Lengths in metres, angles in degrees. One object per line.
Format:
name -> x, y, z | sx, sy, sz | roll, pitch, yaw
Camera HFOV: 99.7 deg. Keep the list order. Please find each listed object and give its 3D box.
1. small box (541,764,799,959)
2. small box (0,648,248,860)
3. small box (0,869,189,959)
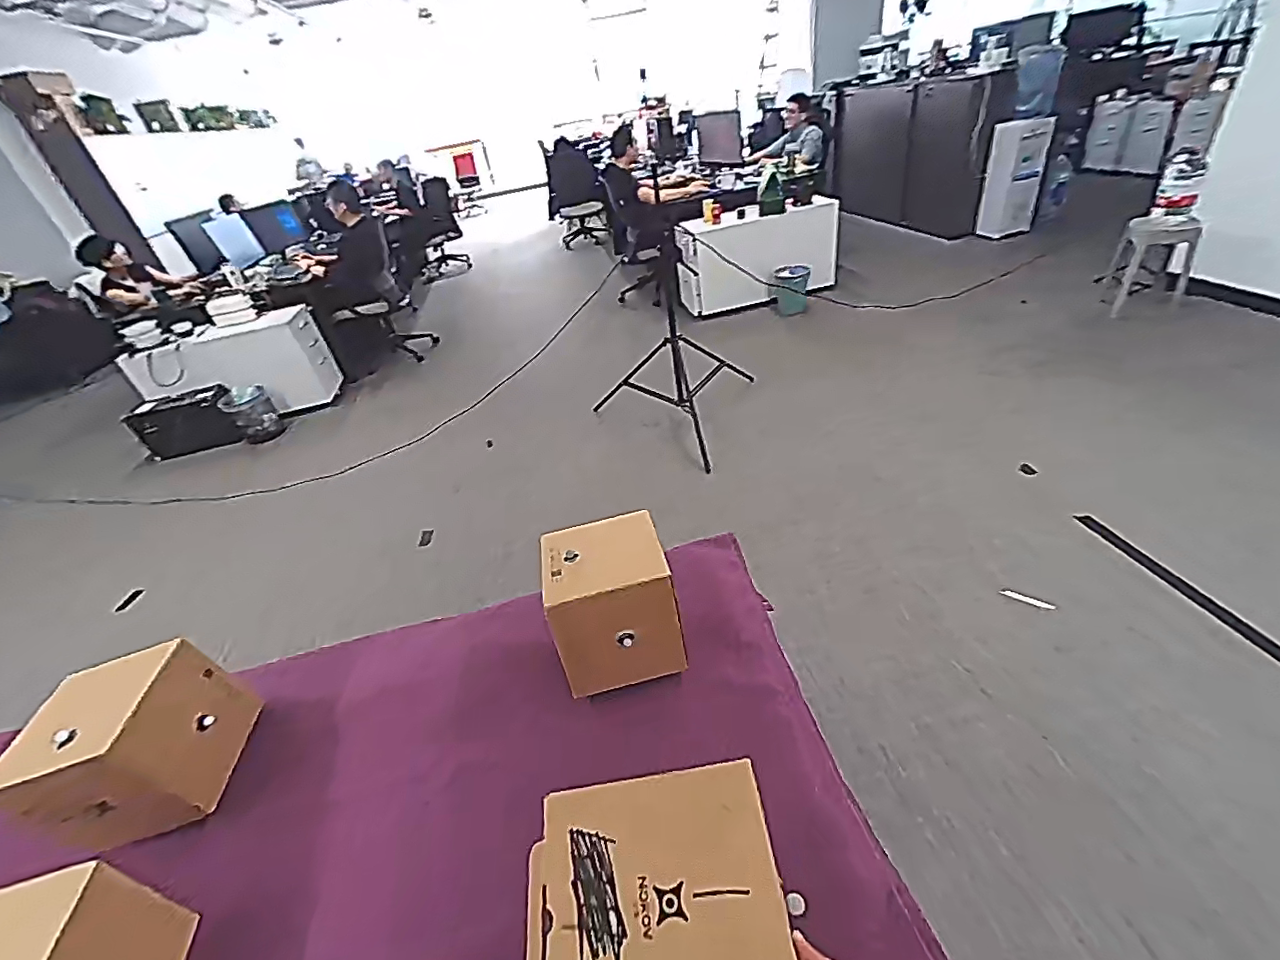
small box -> 0.031, 0.354, 0.438 | 0.179, 0.176, 0.168 | -13, 47, 4
small box -> -0.661, 0.350, 0.707 | 0.179, 0.168, 0.176 | -19, 34, 2
small box -> -0.577, 0.503, 0.494 | 0.179, 0.176, 0.168 | -15, 35, -6
